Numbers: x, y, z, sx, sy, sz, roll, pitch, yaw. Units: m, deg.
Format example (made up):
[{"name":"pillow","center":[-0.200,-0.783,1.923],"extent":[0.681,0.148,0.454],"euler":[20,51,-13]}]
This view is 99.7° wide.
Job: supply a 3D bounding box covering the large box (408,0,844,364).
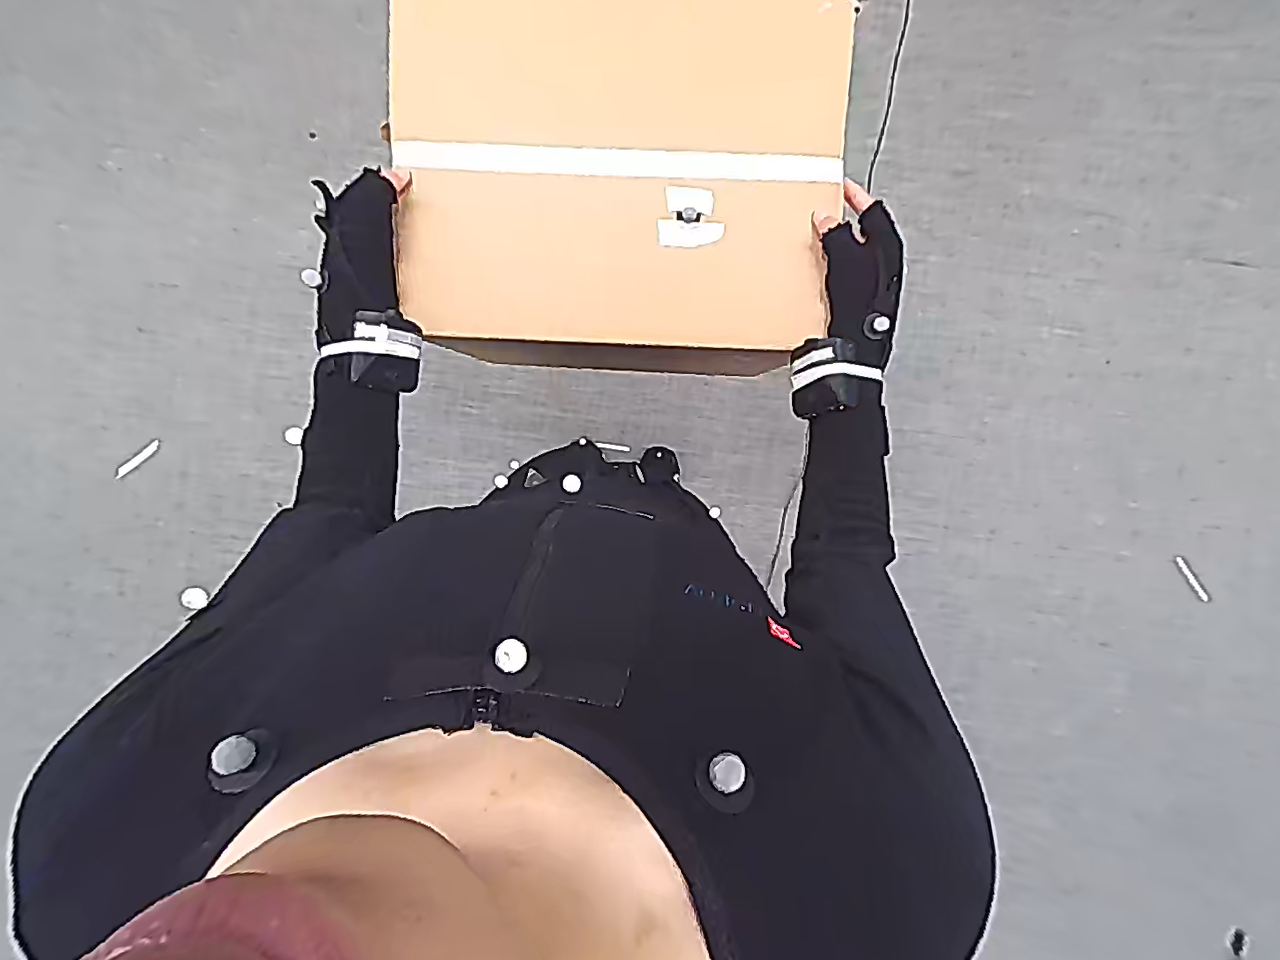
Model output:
[{"name":"large box","center":[-0.018,-0.313,0.654],"extent":[0.408,0.320,0.320],"euler":[2,98,-1]}]
